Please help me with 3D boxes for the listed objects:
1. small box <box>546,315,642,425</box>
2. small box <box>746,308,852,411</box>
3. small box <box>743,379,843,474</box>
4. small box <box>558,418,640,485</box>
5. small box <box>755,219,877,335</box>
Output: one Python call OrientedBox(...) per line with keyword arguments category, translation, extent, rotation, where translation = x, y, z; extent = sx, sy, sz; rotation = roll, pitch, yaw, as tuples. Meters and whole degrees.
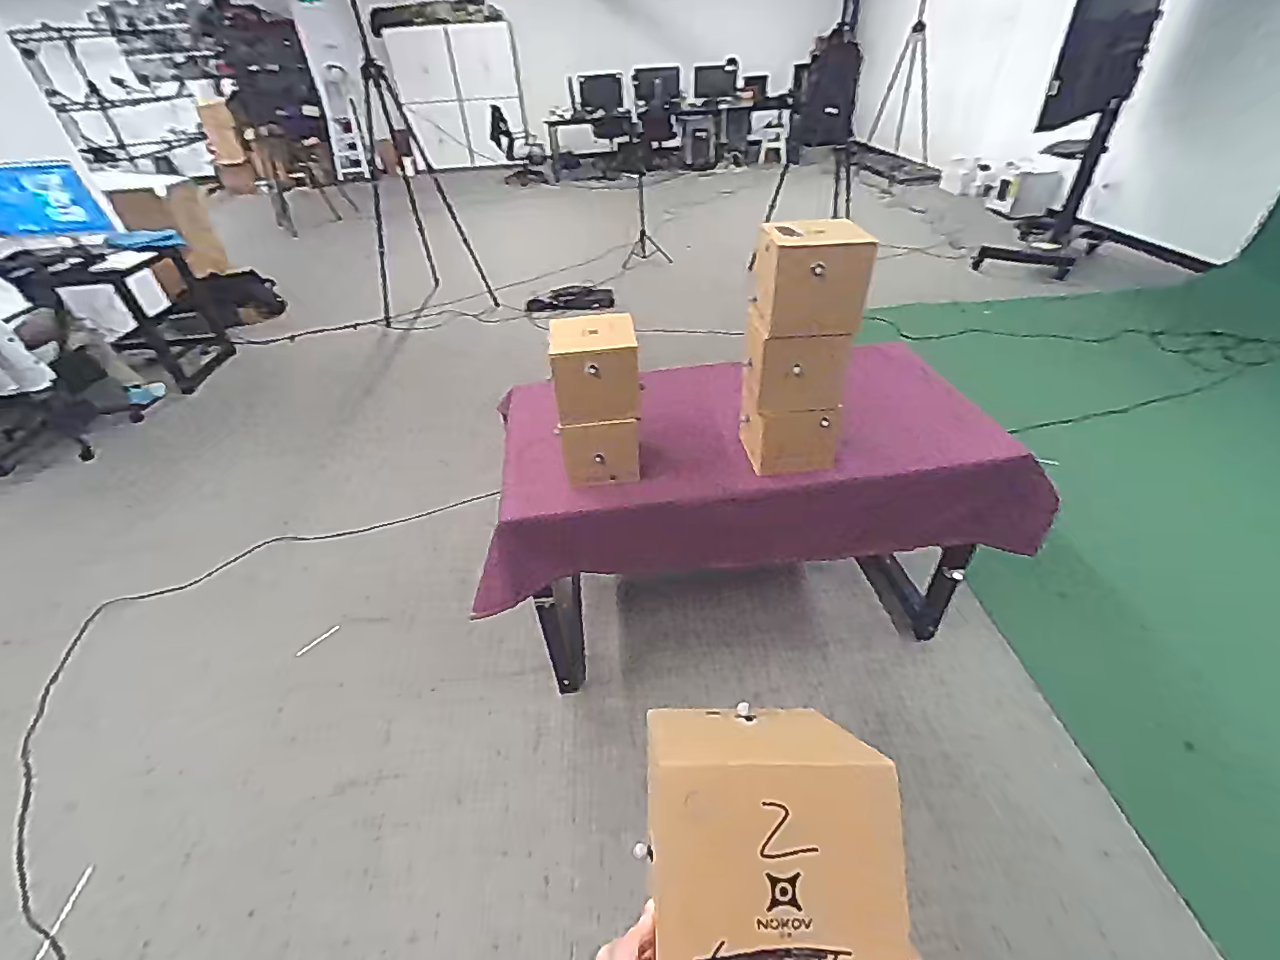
OrientedBox(category="small box", translation=(-0.094, -0.229, 1.138), extent=(0.179, 0.176, 0.168), rotation=(-6, 40, -2))
OrientedBox(category="small box", translation=(0.320, -0.256, 1.131), extent=(0.179, 0.176, 0.168), rotation=(-4, 39, 1))
OrientedBox(category="small box", translation=(0.338, -0.128, 1.234), extent=(0.179, 0.176, 0.168), rotation=(-6, 38, -2))
OrientedBox(category="small box", translation=(-0.089, -0.101, 1.239), extent=(0.168, 0.176, 0.179), rotation=(-5, 38, -1))
OrientedBox(category="small box", translation=(0.320, -0.384, 1.028), extent=(0.179, 0.176, 0.168), rotation=(-3, 38, 0))
